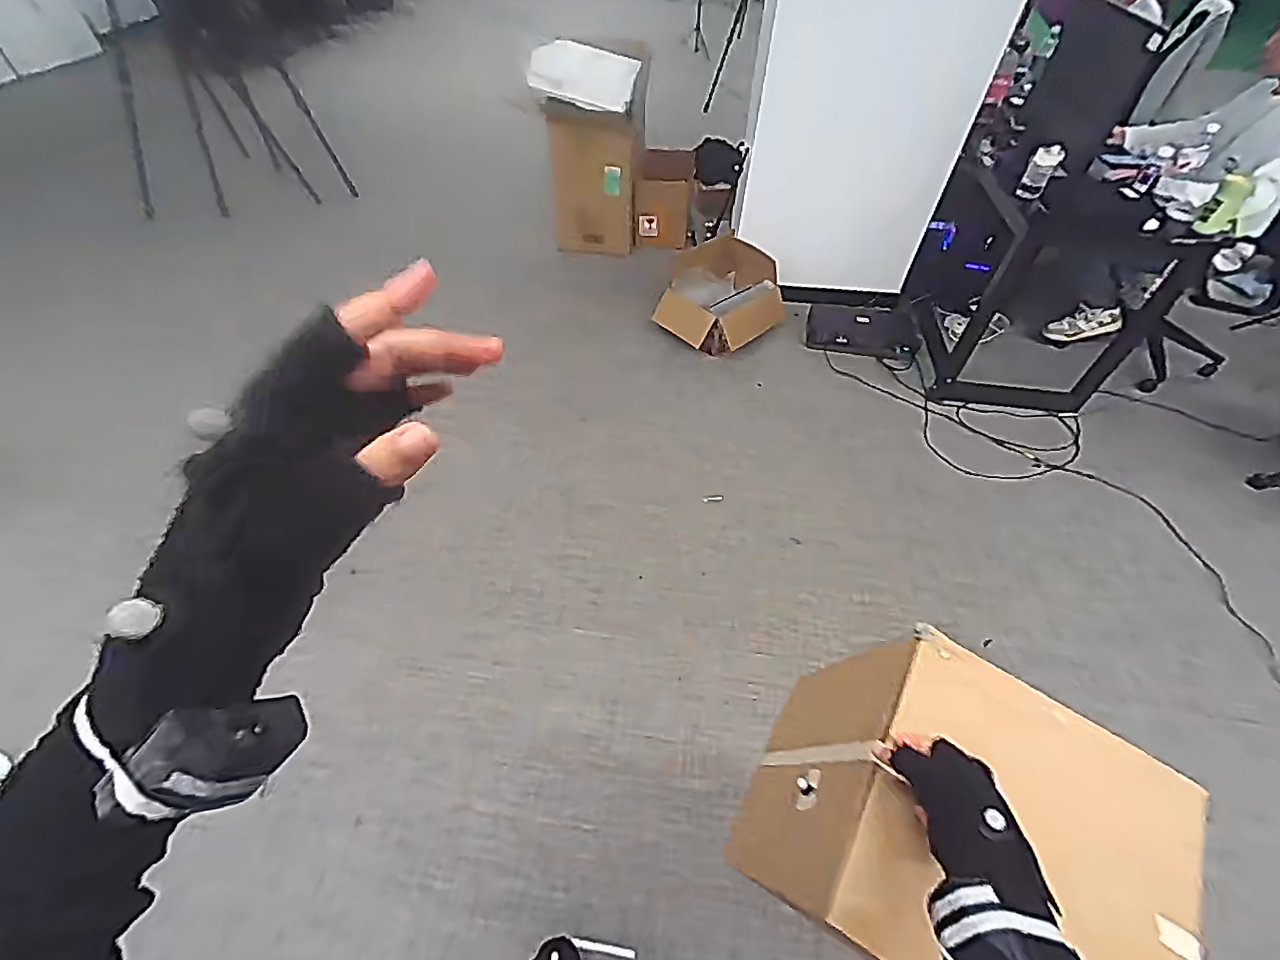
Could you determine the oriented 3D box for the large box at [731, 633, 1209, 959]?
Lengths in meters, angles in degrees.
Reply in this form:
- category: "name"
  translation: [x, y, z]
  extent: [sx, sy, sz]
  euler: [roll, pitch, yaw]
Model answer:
- category: "large box"
  translation: [0.366, 0.452, 0.694]
  extent: [0.320, 0.408, 0.320]
  euler: [31, 64, 10]
